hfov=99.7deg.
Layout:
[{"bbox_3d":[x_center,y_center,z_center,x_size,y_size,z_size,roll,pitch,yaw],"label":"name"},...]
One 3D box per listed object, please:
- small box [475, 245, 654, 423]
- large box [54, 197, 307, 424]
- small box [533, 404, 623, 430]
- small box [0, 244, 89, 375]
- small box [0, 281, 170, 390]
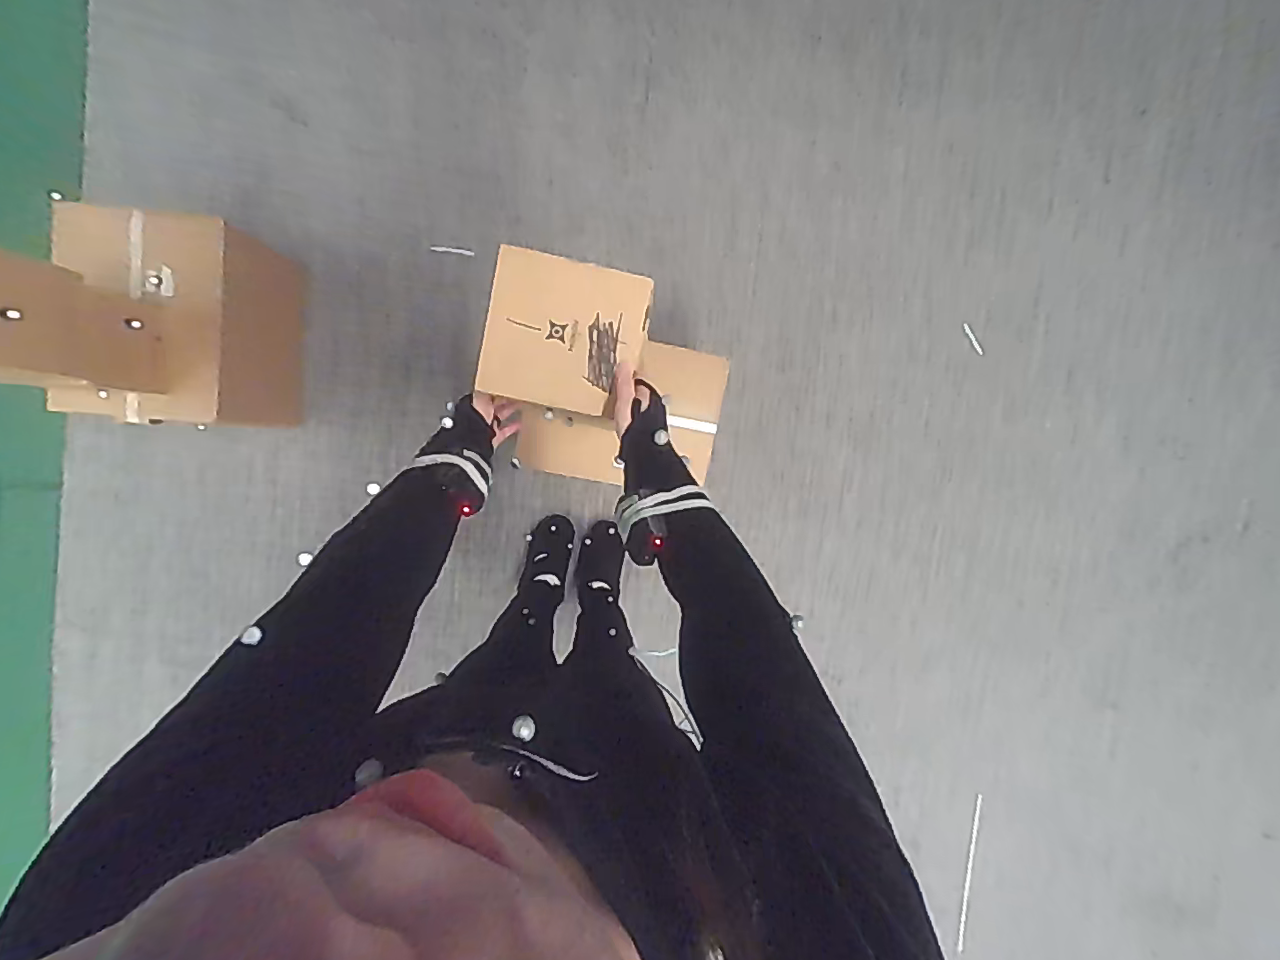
[{"bbox_3d":[-0.089,-0.171,0.684,0.179,0.176,0.168,11,95,-4],"label":"small box"},{"bbox_3d":[-0.981,-0.339,1.198,0.320,0.320,0.408,5,92,-5],"label":"large box"},{"bbox_3d":[-0.099,-0.196,1.032,0.168,0.176,0.179,11,91,-5],"label":"small box"},{"bbox_3d":[-0.972,-0.251,0.795,0.168,0.176,0.179,-1,93,-5],"label":"small box"},{"bbox_3d":[-0.985,-0.255,0.958,0.179,0.176,0.168,4,93,-4],"label":"small box"}]
